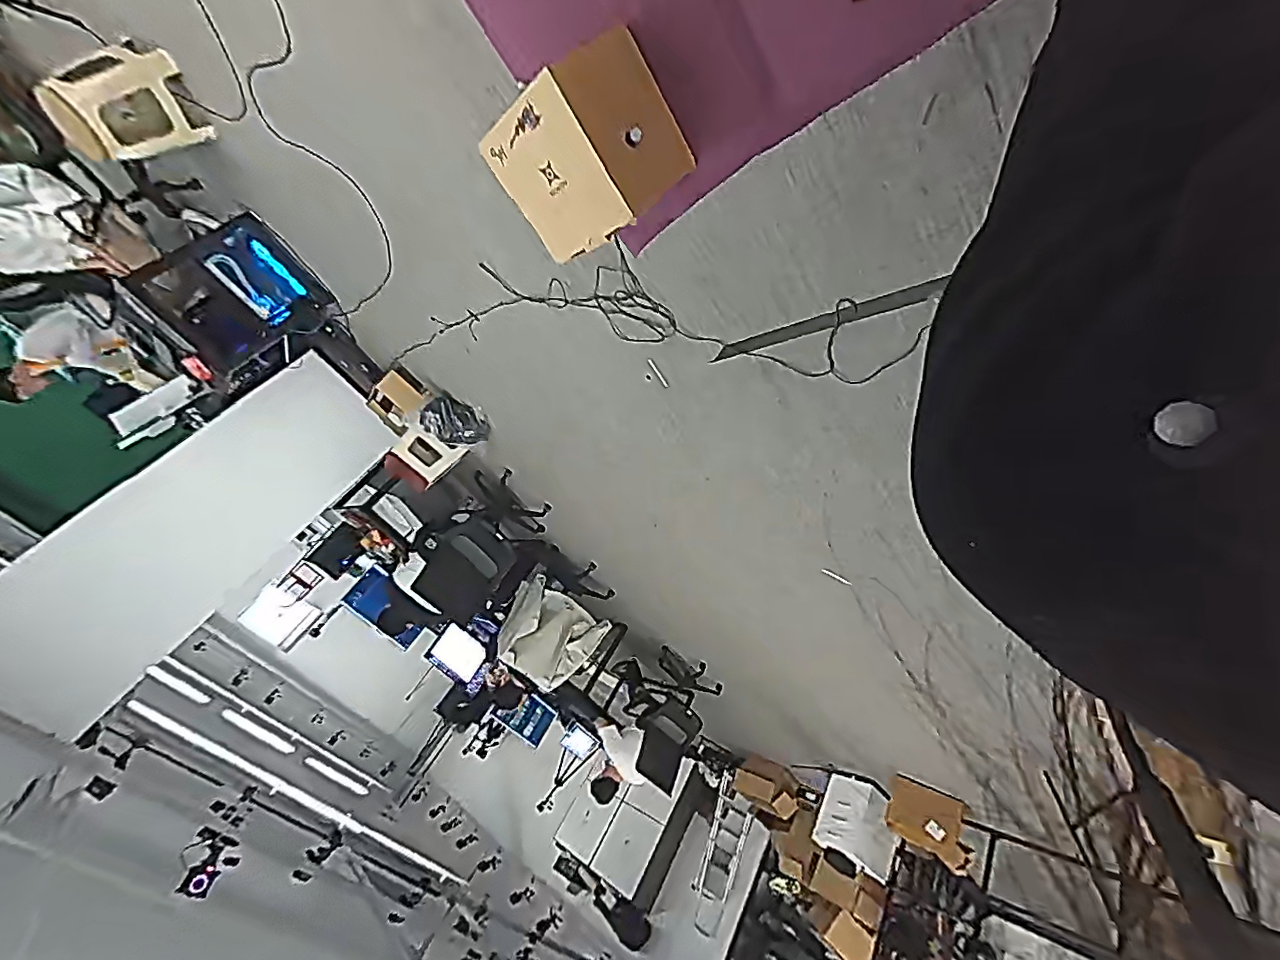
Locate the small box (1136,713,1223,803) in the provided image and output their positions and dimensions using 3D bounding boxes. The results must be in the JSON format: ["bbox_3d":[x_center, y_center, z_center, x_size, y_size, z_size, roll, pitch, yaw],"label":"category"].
[{"bbox_3d":[1.662,0.849,1.667,0.179,0.176,0.168,-6,130,50],"label":"small box"}]

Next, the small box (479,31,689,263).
[{"bbox_3d":[-0.064,-0.427,0.707,0.168,0.176,0.179,-5,132,47],"label":"small box"}]
